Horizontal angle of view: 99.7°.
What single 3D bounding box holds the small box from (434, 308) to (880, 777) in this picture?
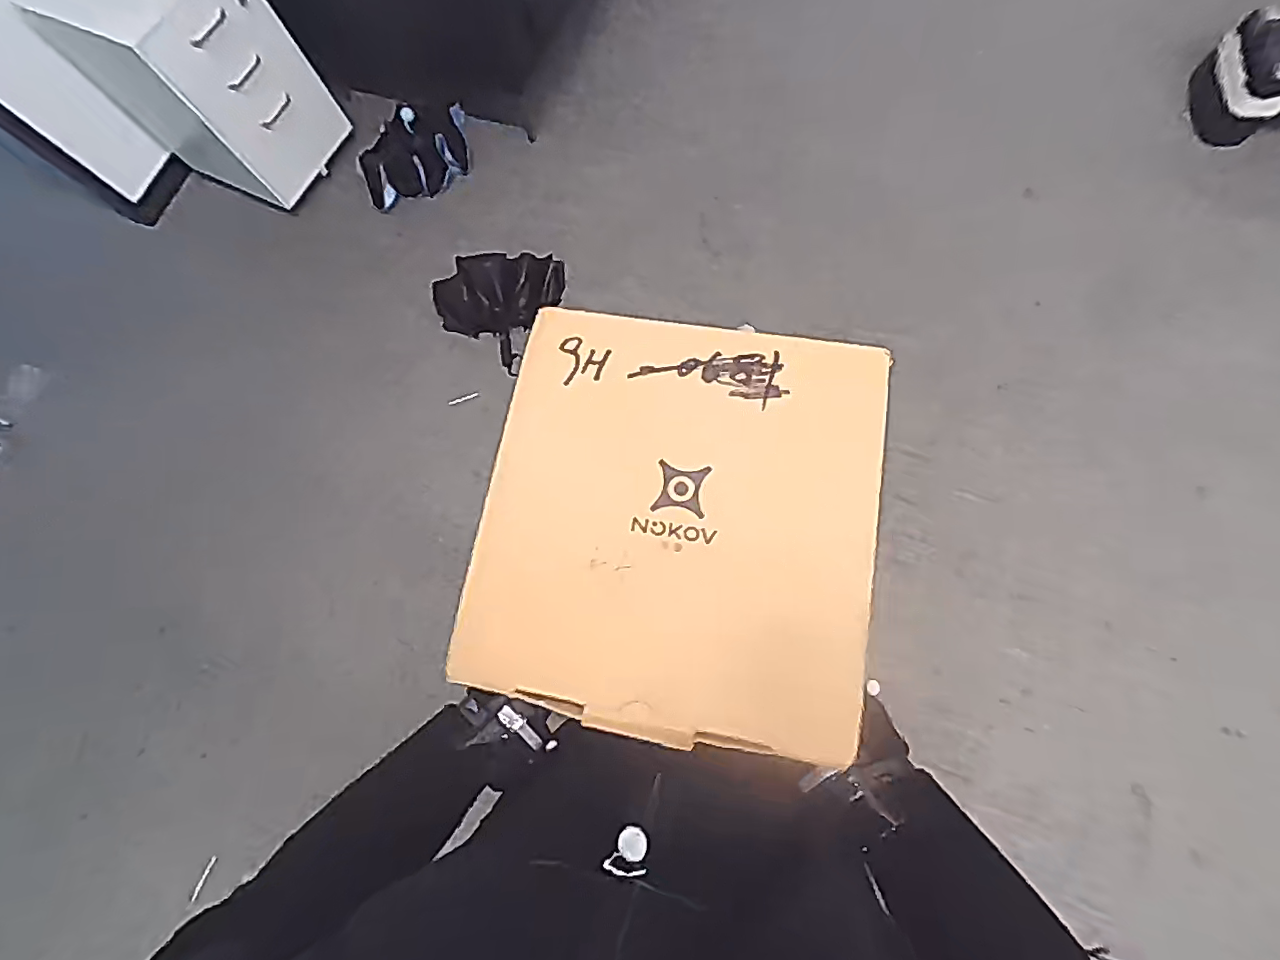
[{"bbox_3d":[0.017,0.031,0.306,0.168,0.176,0.179,10,79,8],"label":"small box"}]
